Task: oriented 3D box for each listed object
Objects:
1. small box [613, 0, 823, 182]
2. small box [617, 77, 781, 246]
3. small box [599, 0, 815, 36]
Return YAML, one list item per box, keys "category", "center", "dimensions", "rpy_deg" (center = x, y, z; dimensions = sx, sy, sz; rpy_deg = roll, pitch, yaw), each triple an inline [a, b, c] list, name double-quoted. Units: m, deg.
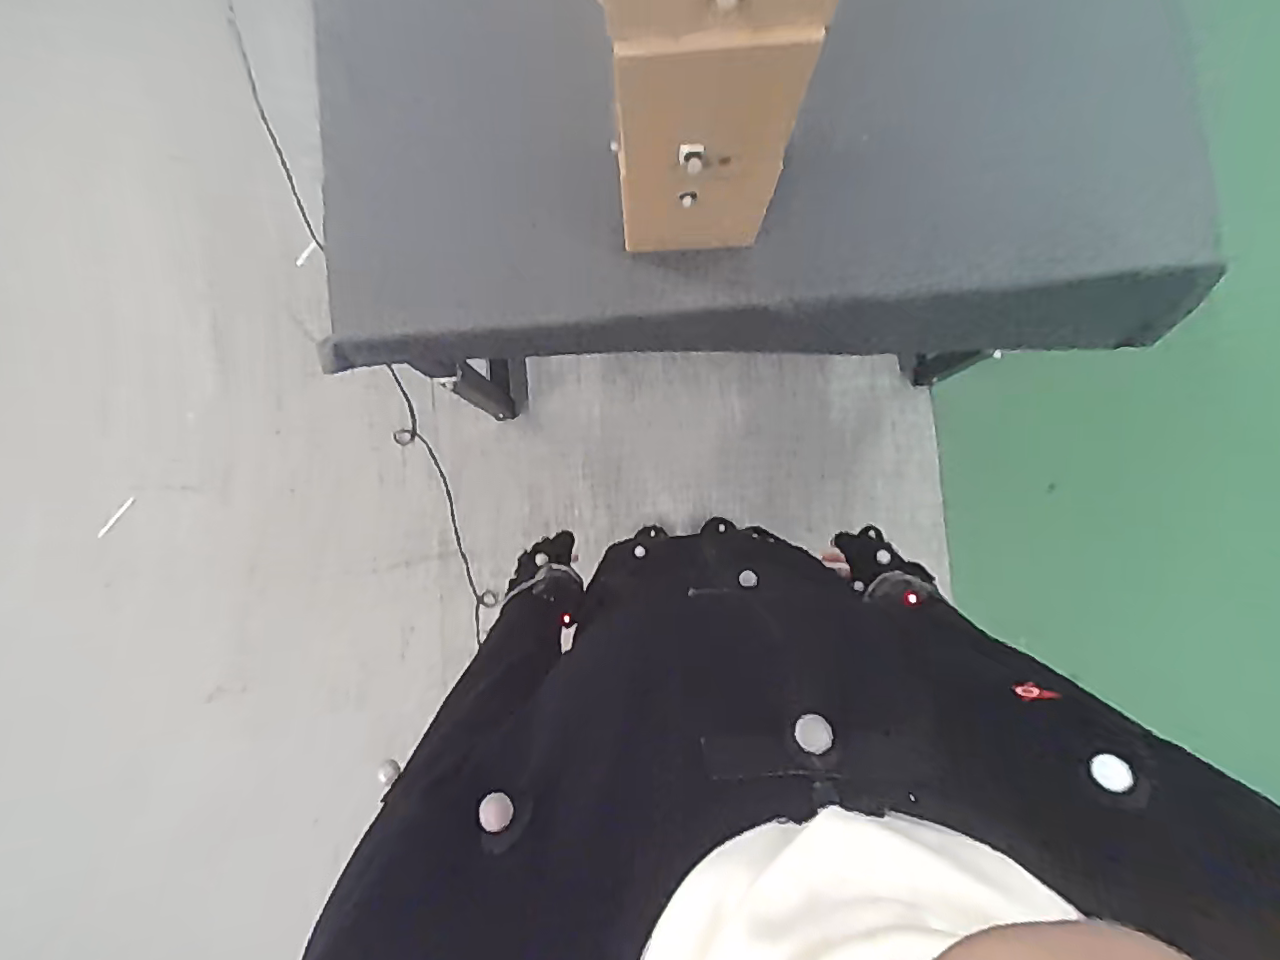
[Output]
- category: "small box"
  center: [0.061, -0.416, 0.506]
  dimensions: [0.168, 0.176, 0.179]
  rpy_deg: [-3, 87, 3]
- category: "small box"
  center: [0.066, -0.407, 0.667]
  dimensions: [0.179, 0.176, 0.168]
  rpy_deg: [-2, 86, 1]
- category: "small box"
  center: [0.052, -0.431, 0.343]
  dimensions: [0.179, 0.176, 0.168]
  rpy_deg: [-2, 86, 2]
